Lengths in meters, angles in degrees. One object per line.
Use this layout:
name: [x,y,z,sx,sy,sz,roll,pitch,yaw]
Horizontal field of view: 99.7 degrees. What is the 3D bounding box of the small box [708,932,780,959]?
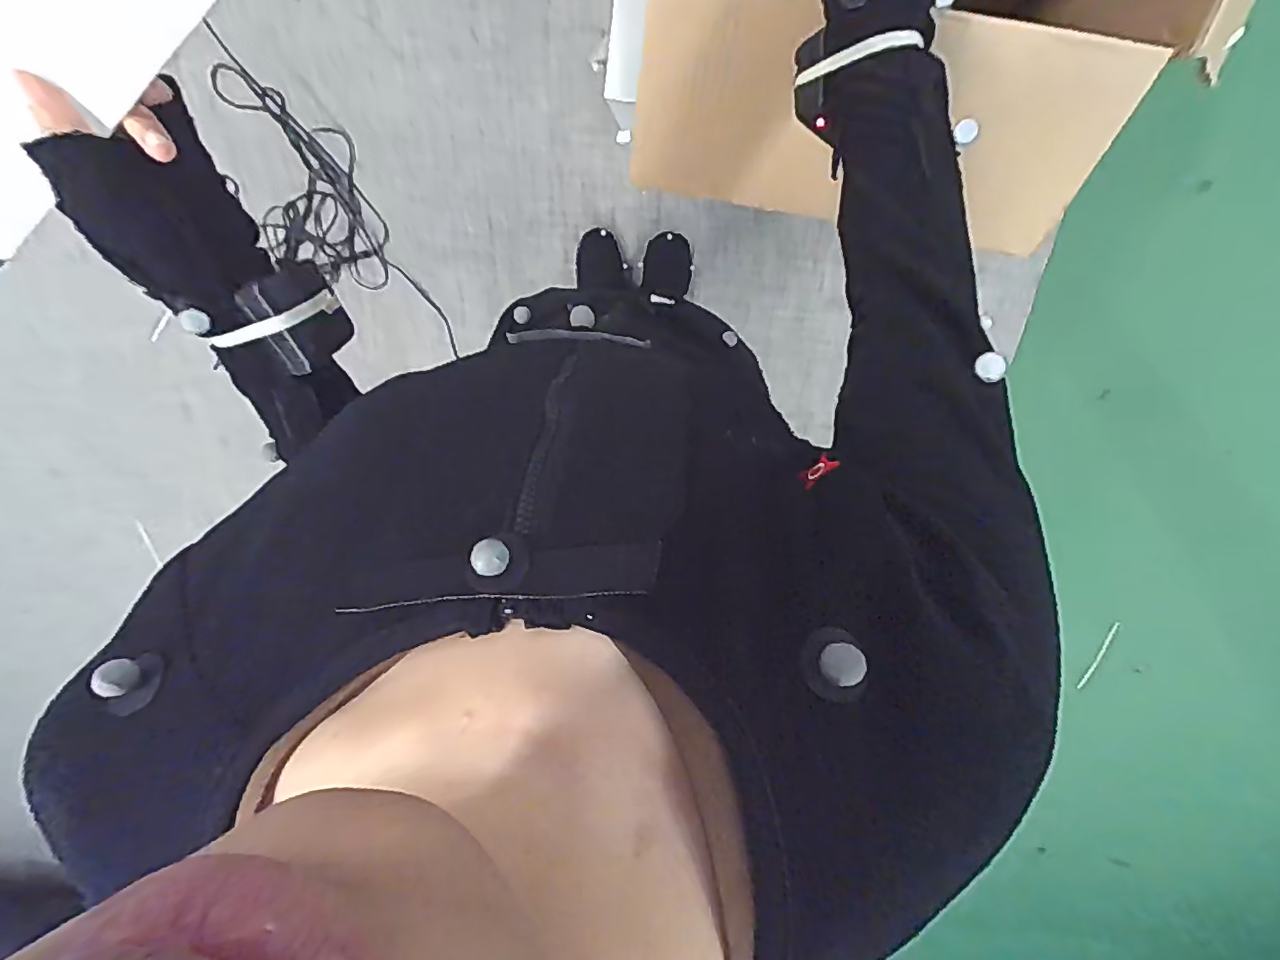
small box: [0.256,1.237,1.307,0.168,0.176,0.179,2,117,0]
